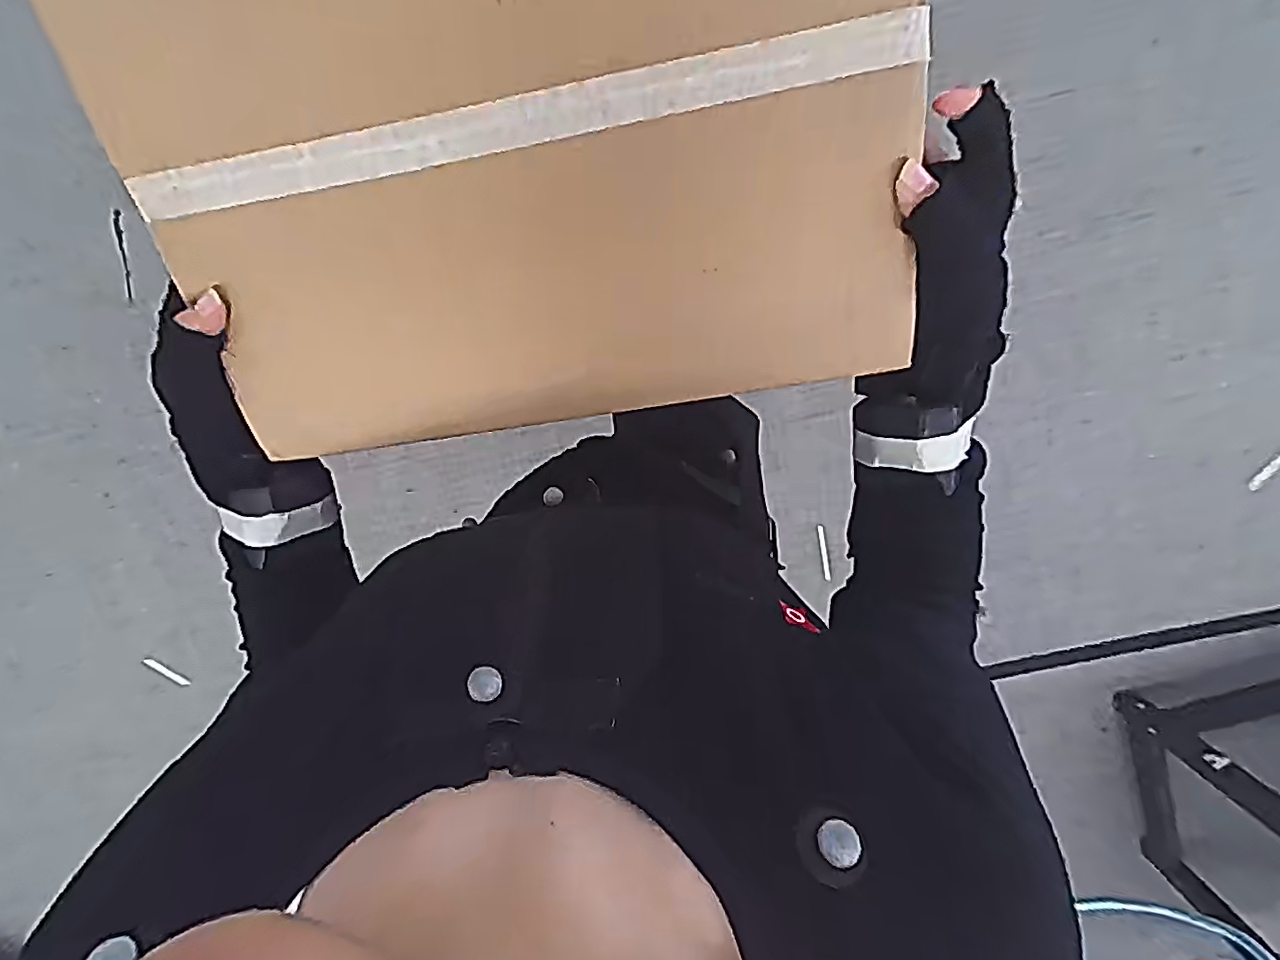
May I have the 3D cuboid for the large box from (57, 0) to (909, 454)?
[{"bbox_3d":[-0.062,-0.248,0.410,0.408,0.320,0.320,-8,115,6],"label":"large box"}]
